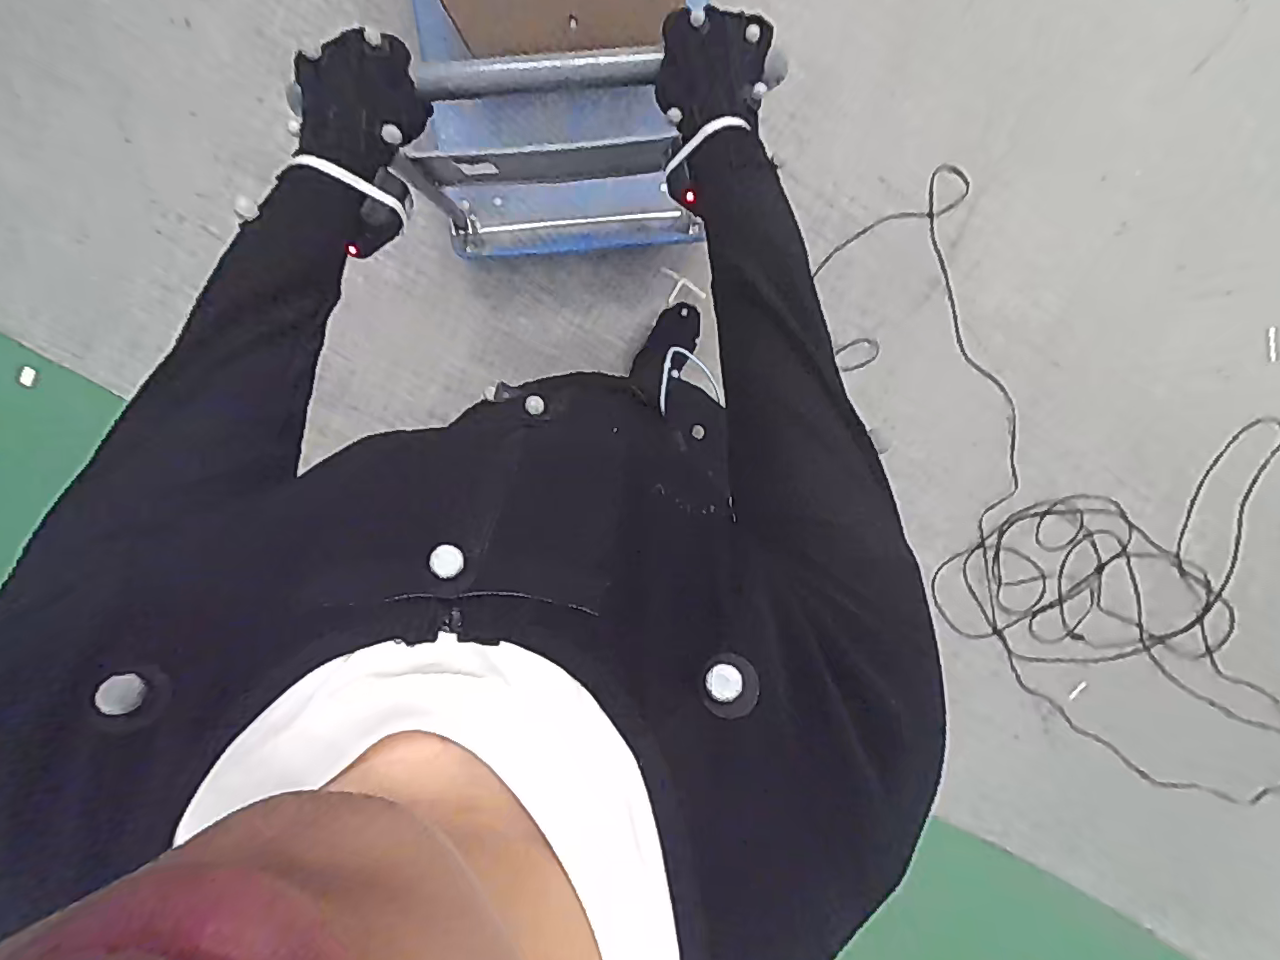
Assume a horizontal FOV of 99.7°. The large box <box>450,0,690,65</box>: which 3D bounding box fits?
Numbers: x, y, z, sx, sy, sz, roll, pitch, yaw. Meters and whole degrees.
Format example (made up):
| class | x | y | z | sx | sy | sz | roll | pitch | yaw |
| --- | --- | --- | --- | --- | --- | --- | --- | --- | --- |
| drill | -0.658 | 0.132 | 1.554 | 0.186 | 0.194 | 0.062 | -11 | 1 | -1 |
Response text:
| class | x | y | z | sx | sy | sz | roll | pitch | yaw |
| --- | --- | --- | --- | --- | --- | --- | --- | --- | --- |
| large box | -0.126 | -0.956 | 0.897 | 0.408 | 0.320 | 0.320 | -6 | 105 | 1 |
